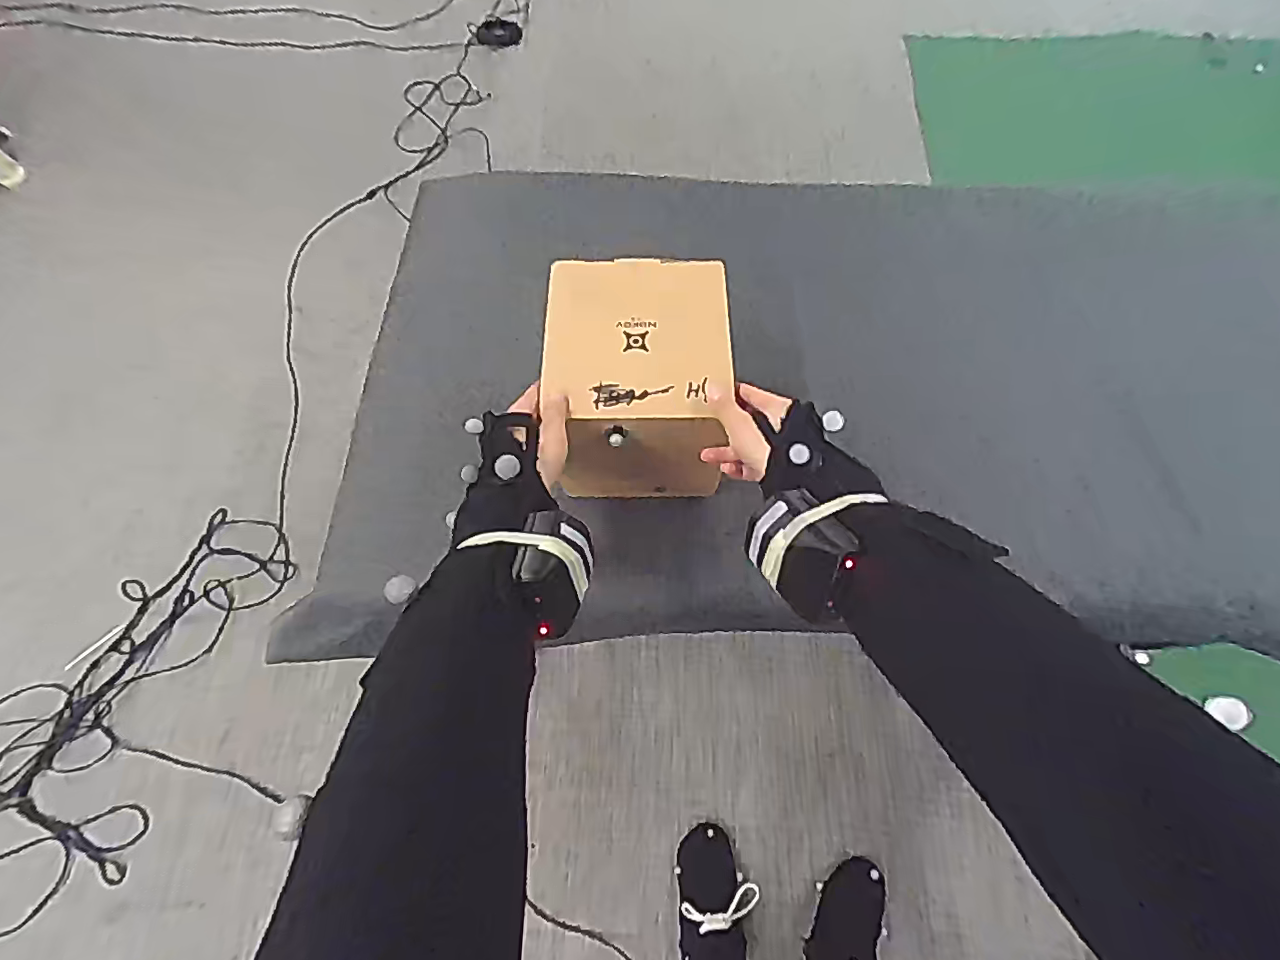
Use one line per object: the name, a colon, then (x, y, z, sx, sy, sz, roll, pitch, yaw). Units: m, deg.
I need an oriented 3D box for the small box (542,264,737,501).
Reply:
small box: (0.001, -0.092, 0.552, 0.168, 0.176, 0.179, 0, 66, 1)
